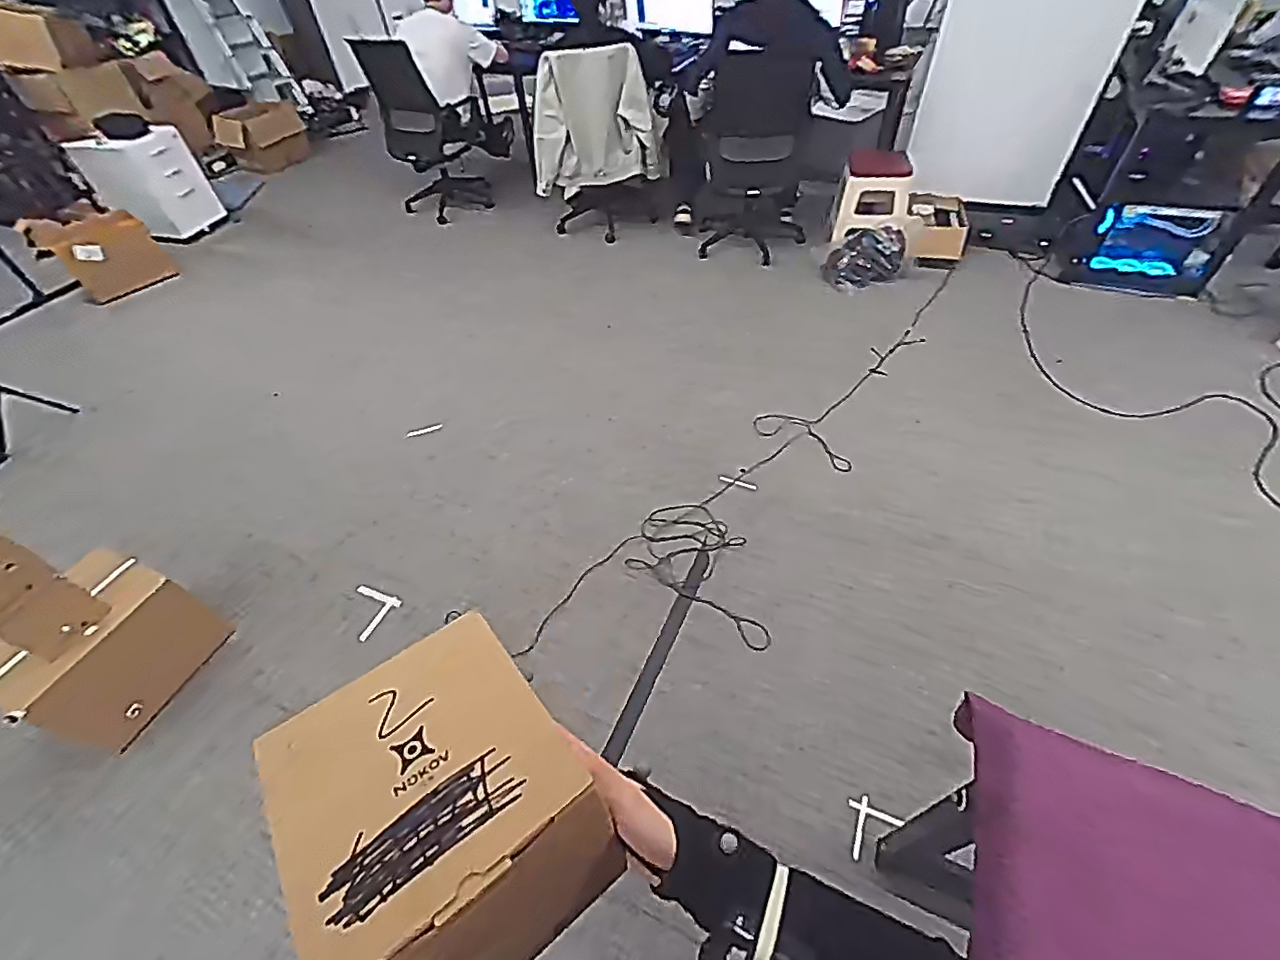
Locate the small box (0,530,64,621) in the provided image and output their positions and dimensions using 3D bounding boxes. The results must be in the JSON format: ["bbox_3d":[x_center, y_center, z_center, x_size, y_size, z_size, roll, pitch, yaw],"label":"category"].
[{"bbox_3d":[-1.500,0.209,1.229,0.179,0.176,0.168,13,50,16],"label":"small box"}]

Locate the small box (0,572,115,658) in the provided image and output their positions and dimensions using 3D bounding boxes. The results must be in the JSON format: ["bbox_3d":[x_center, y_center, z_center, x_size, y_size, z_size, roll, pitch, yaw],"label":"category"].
[{"bbox_3d":[-1.497,0.318,1.348,0.179,0.176,0.168,15,52,16],"label":"small box"}]
